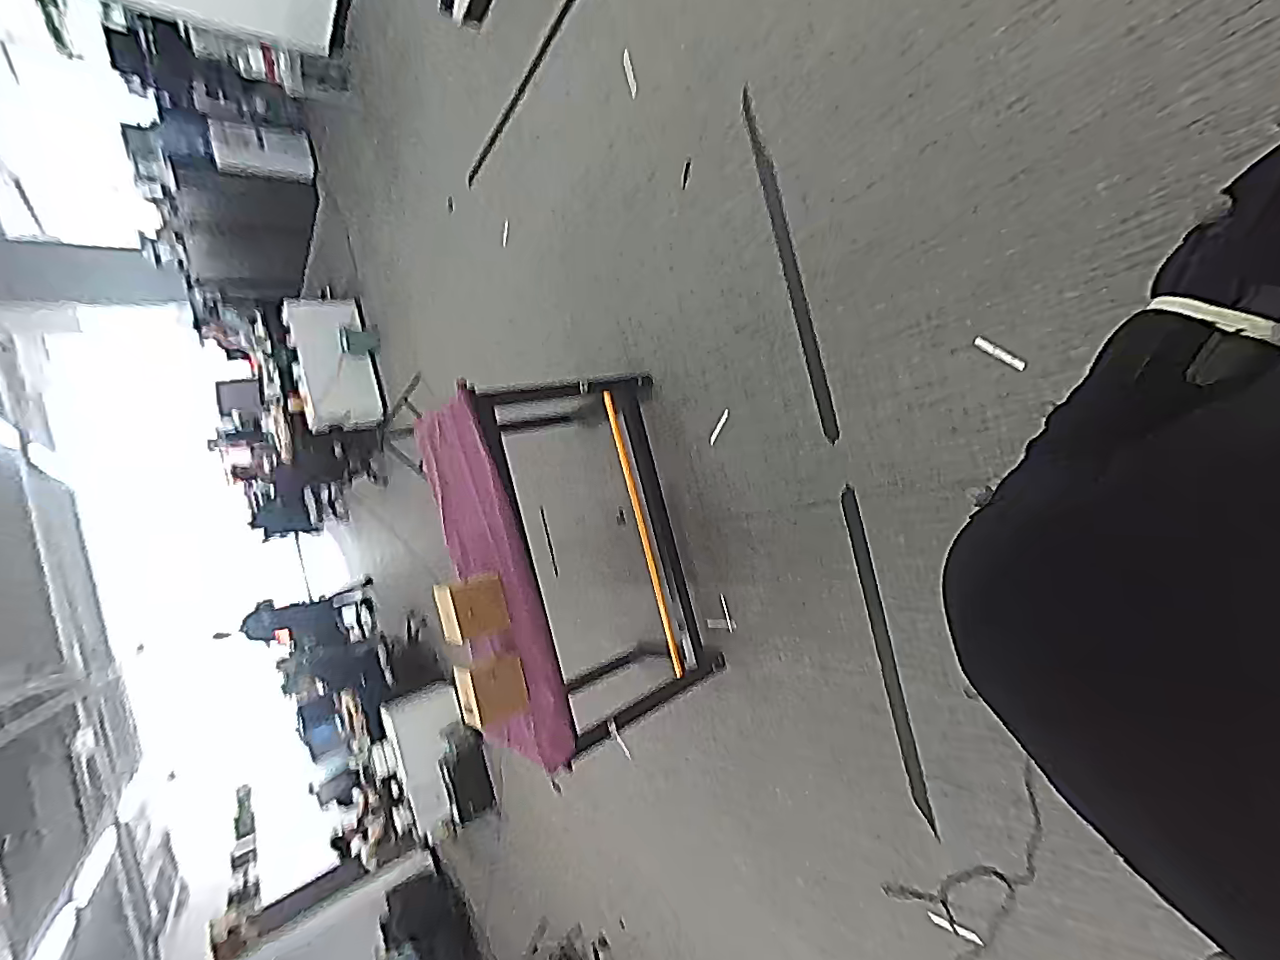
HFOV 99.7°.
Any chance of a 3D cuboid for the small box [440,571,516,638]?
[{"bbox_3d":[-0.530,0.400,1.773,0.168,0.176,0.179,-15,90,53],"label":"small box"}]
